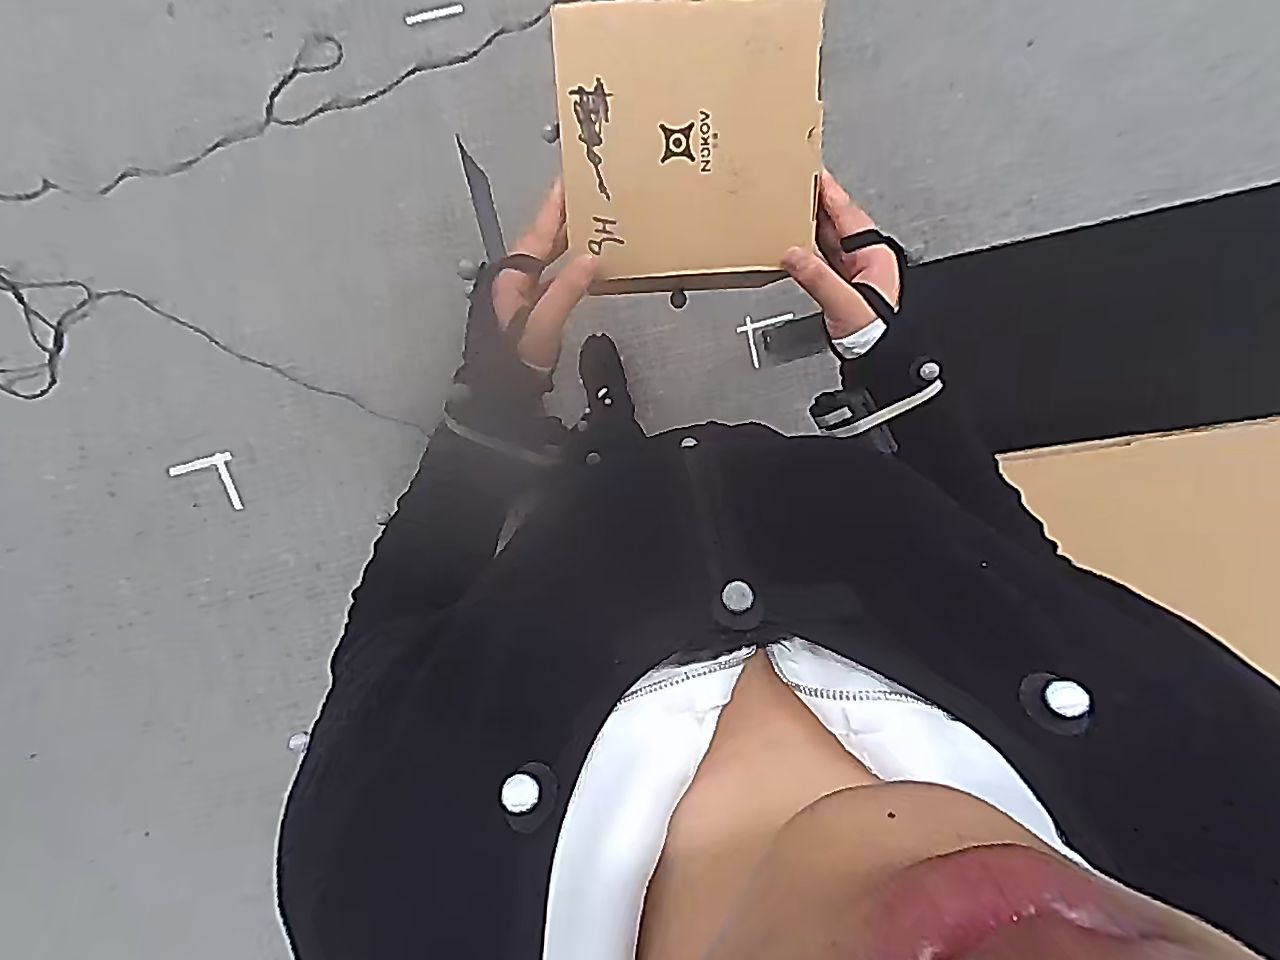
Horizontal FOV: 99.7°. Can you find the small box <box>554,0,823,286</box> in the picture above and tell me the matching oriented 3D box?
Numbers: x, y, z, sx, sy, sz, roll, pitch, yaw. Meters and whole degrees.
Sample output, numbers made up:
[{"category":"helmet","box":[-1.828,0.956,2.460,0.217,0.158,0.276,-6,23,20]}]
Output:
[{"category":"small box","box":[0.030,-0.254,0.440,0.179,0.176,0.168,-3,104,-2]}]
